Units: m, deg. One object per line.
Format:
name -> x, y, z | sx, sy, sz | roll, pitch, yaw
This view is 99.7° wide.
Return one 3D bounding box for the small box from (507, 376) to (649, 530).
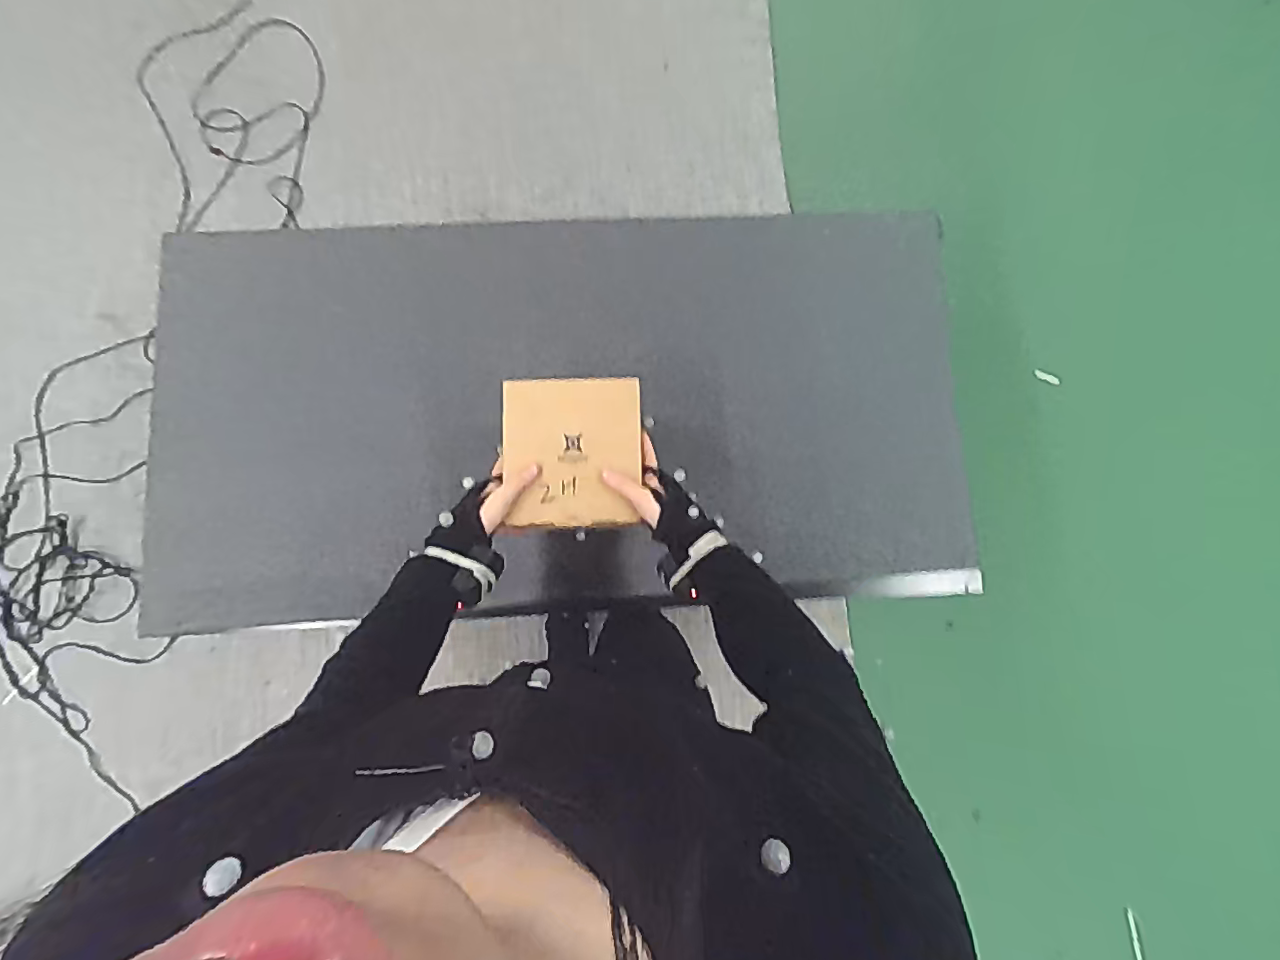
small box -> -0.076, -0.027, 0.714 | 0.168, 0.176, 0.179 | -2, 83, -1
